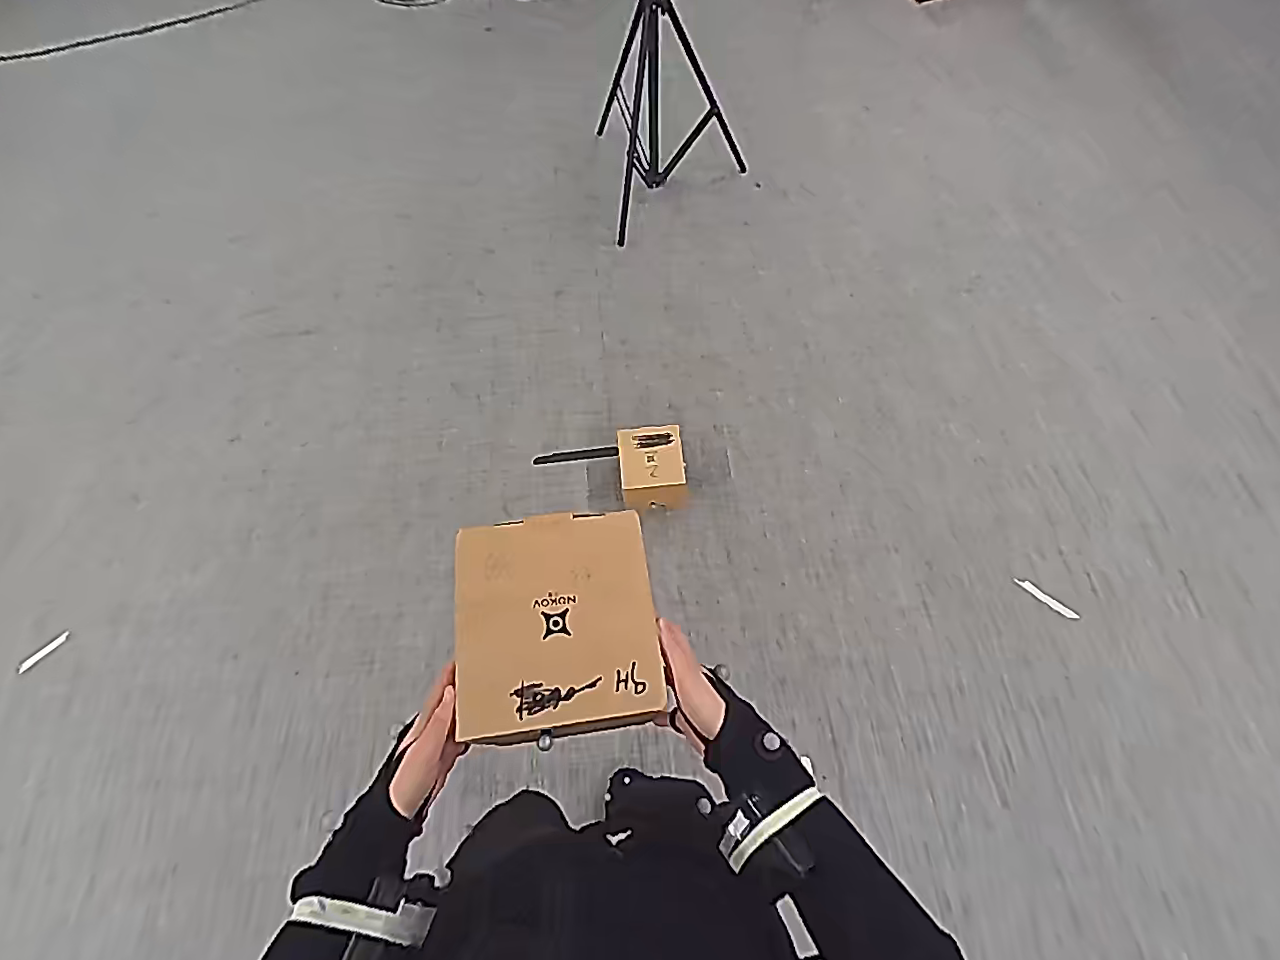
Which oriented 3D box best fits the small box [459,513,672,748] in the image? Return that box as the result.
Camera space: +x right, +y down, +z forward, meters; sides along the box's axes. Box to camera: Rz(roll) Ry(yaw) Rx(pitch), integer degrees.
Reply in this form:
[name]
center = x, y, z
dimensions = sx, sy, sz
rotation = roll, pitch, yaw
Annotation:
[small box]
center = -0.072, 0.150, 0.522
dimensions = 0.168, 0.176, 0.179
rotation = -6, 63, -8
